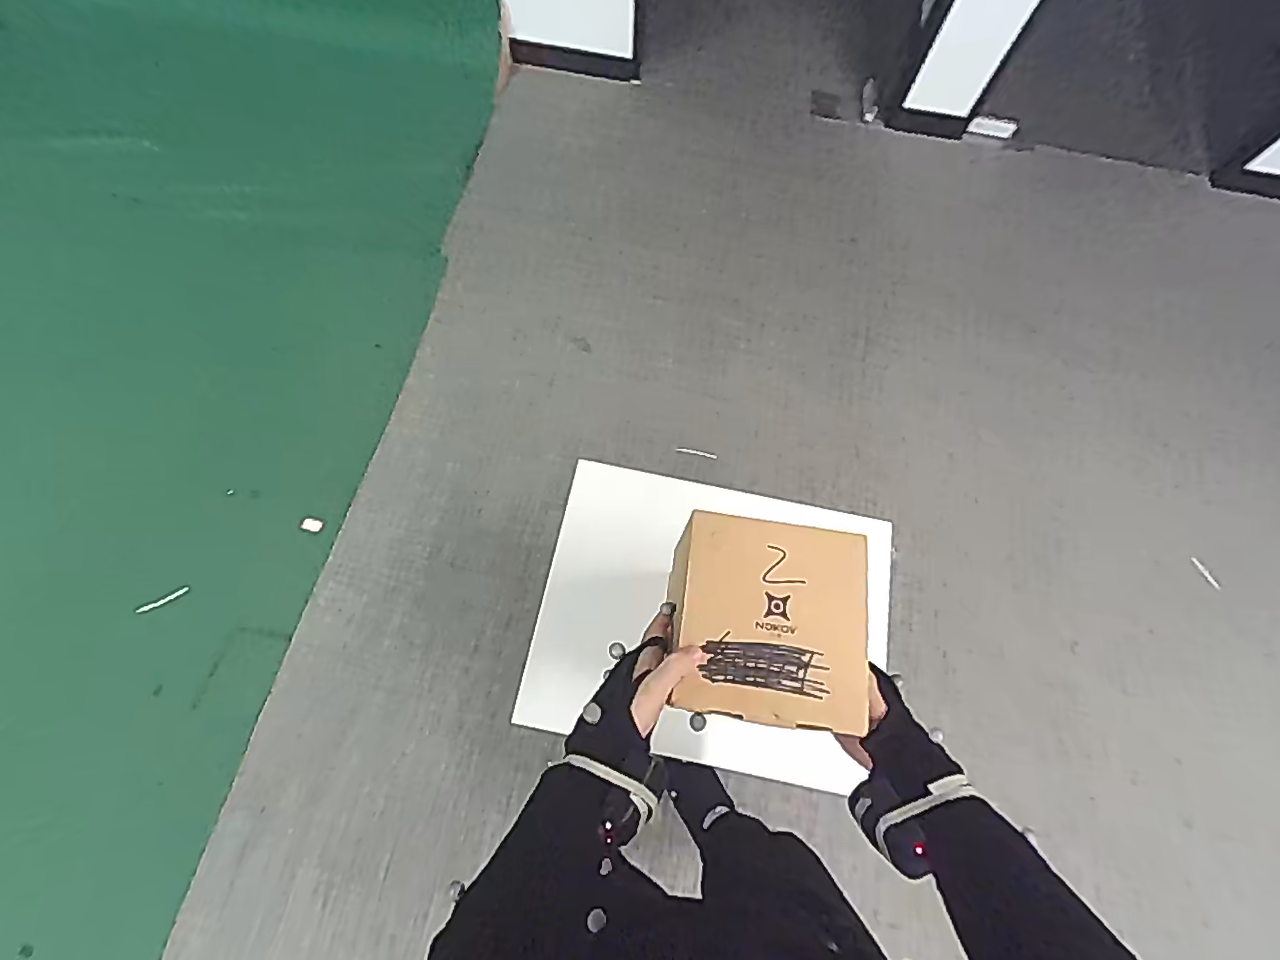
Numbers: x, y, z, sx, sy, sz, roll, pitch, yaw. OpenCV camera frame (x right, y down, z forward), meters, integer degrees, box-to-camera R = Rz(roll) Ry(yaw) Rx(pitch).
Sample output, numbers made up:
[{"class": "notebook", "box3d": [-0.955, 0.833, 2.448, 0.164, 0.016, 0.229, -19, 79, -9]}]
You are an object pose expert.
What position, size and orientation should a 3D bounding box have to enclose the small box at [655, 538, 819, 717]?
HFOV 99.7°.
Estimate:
[{"class": "small box", "box3d": [0.116, 0.194, 0.697, 0.168, 0.176, 0.179, 11, 69, 2]}]
